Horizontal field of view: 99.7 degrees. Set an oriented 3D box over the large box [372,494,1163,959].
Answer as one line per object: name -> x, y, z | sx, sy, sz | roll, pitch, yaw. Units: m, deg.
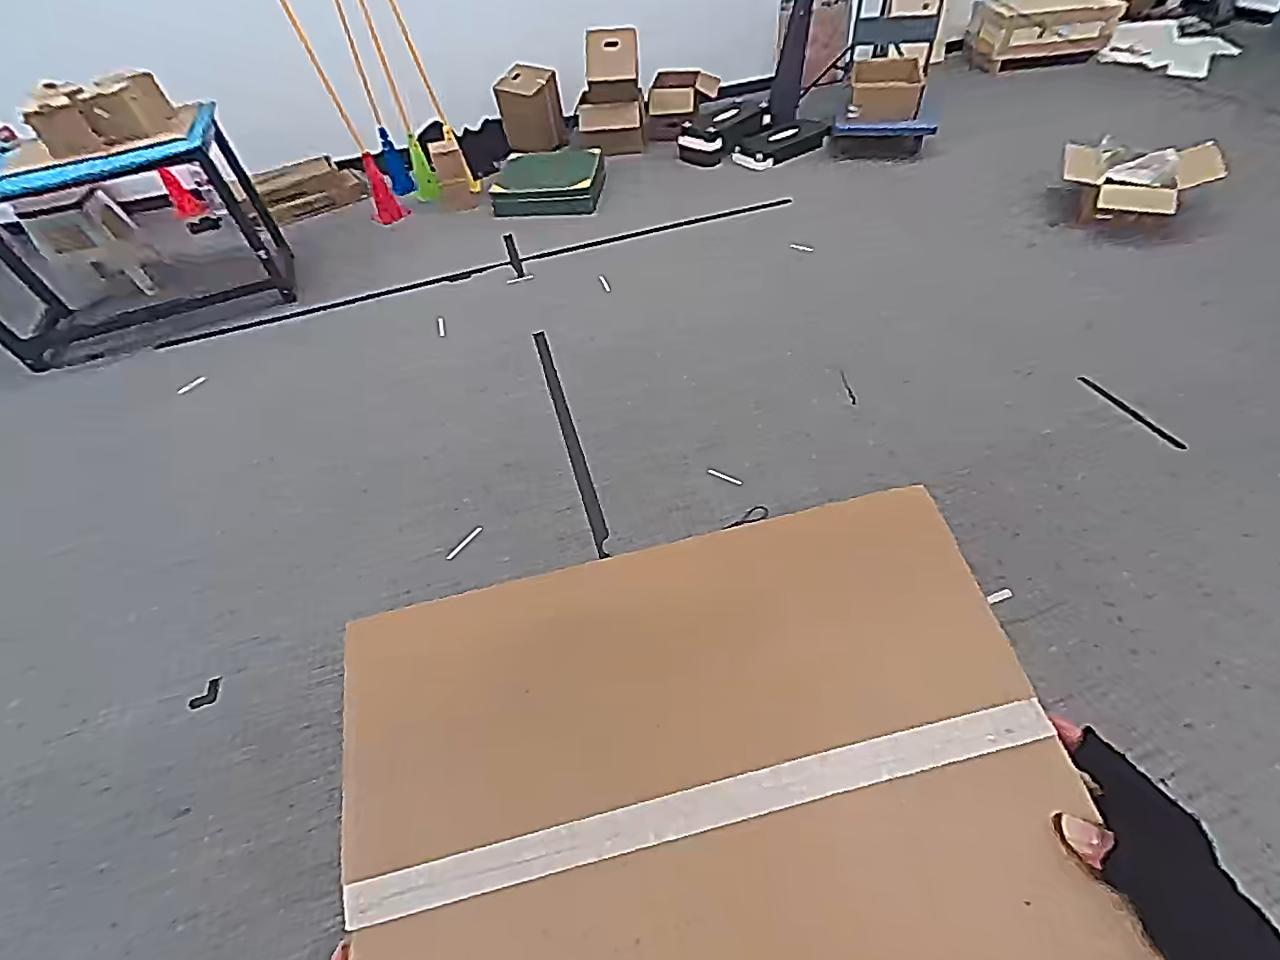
large box -> 0.052, 0.255, 0.448 | 0.408, 0.320, 0.320 | -14, 65, -3
